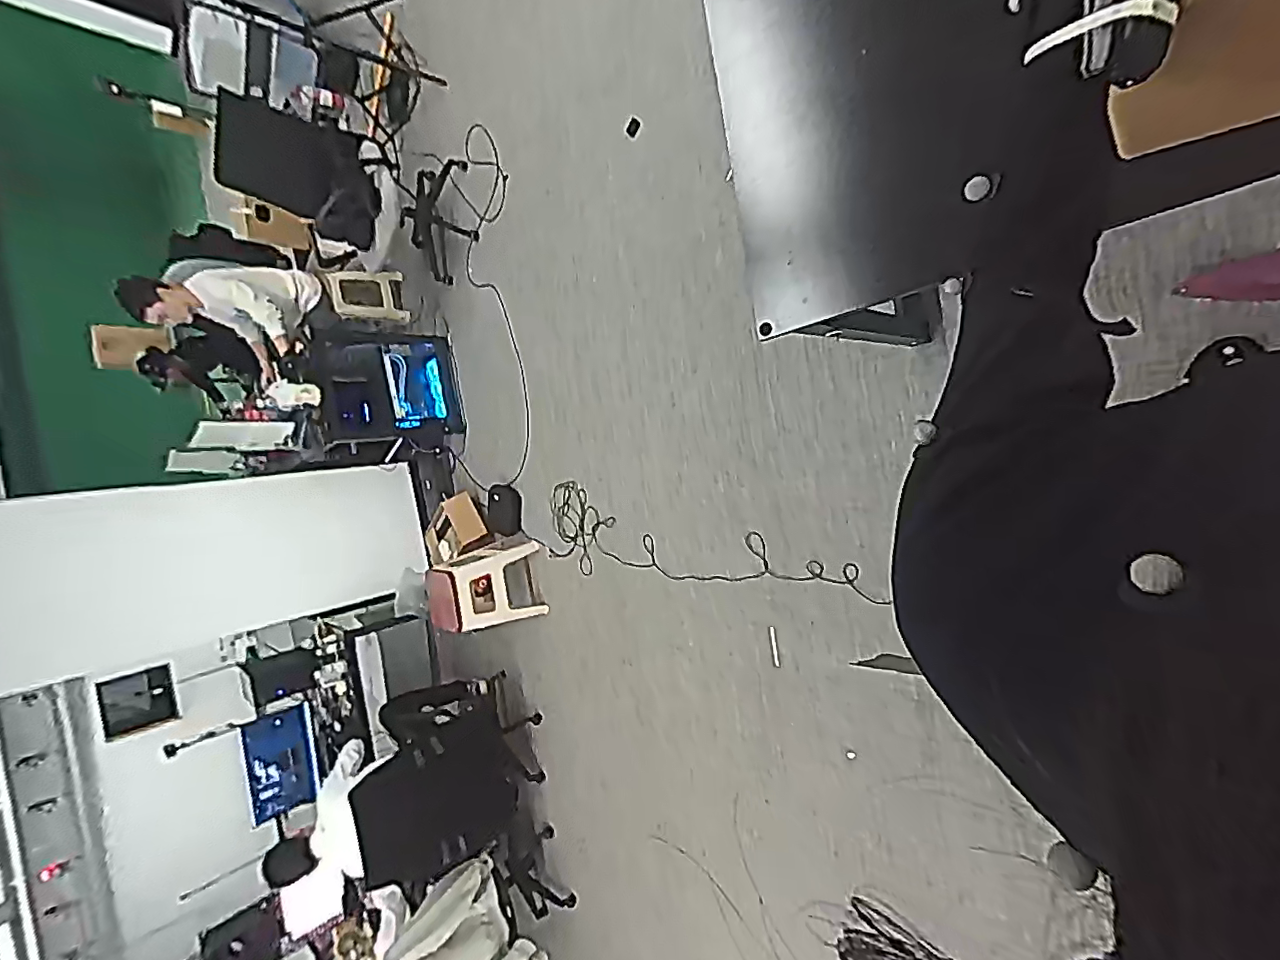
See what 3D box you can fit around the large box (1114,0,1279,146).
[{"bbox_3d":[0.550,-0.481,0.322,0.408,0.320,0.320,0,100,44],"label":"large box"}]
